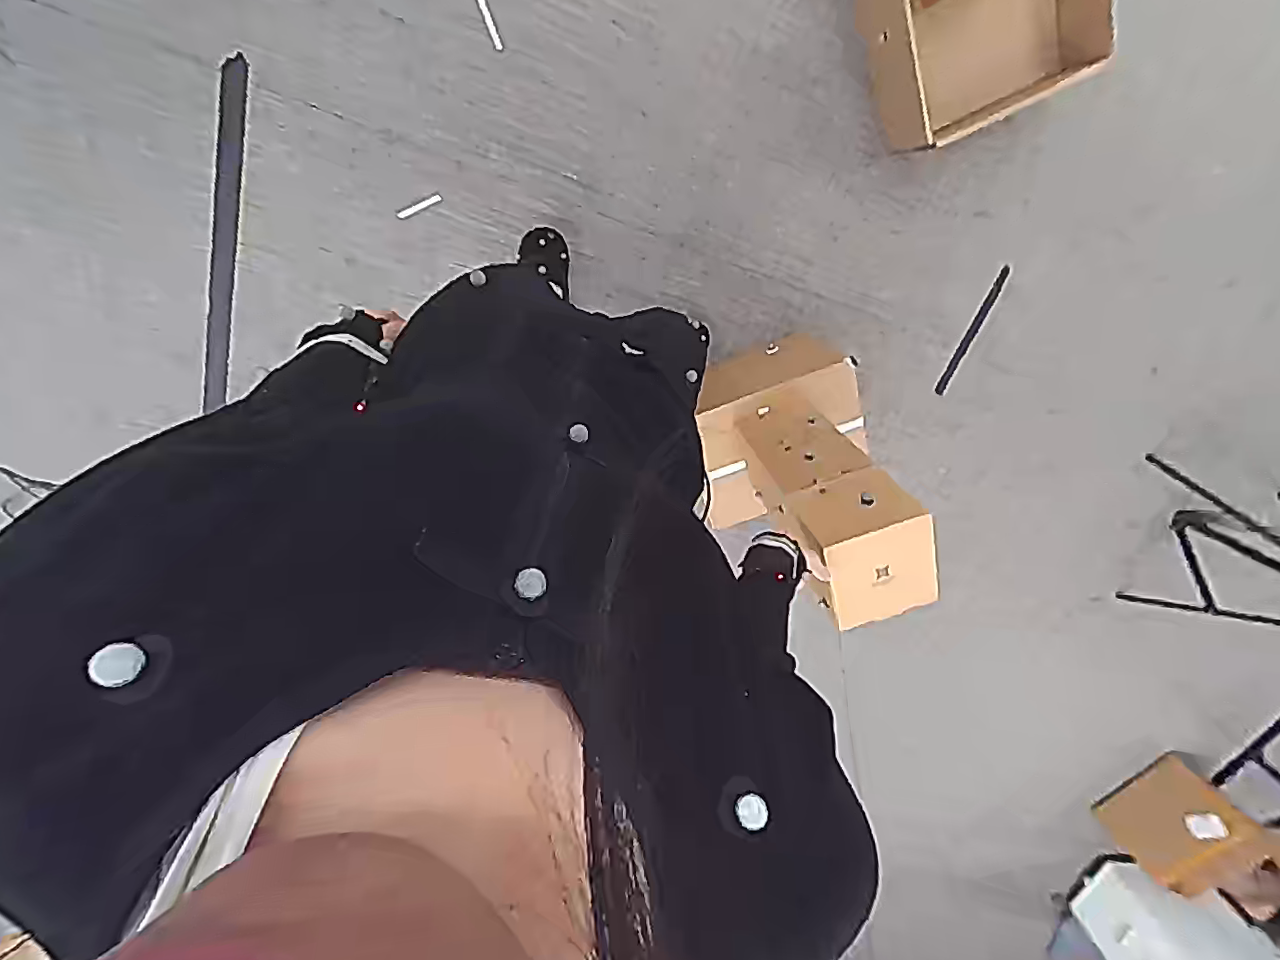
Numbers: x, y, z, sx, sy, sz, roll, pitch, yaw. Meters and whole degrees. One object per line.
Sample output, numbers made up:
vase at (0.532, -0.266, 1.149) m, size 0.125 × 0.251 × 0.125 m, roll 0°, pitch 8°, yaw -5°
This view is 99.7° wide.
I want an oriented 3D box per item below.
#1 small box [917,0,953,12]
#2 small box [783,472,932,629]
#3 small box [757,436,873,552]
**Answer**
small box at (0.646, -1.043, 1.025) m, size 0.179 × 0.176 × 0.168 m, roll -24°, pitch 116°, yaw 6°
small box at (0.351, 0.105, 0.893) m, size 0.168 × 0.176 × 0.179 m, roll -19°, pitch 118°, yaw 3°
small box at (0.338, 0.031, 1.037) m, size 0.168 × 0.176 × 0.179 m, roll -20°, pitch 117°, yaw 4°
